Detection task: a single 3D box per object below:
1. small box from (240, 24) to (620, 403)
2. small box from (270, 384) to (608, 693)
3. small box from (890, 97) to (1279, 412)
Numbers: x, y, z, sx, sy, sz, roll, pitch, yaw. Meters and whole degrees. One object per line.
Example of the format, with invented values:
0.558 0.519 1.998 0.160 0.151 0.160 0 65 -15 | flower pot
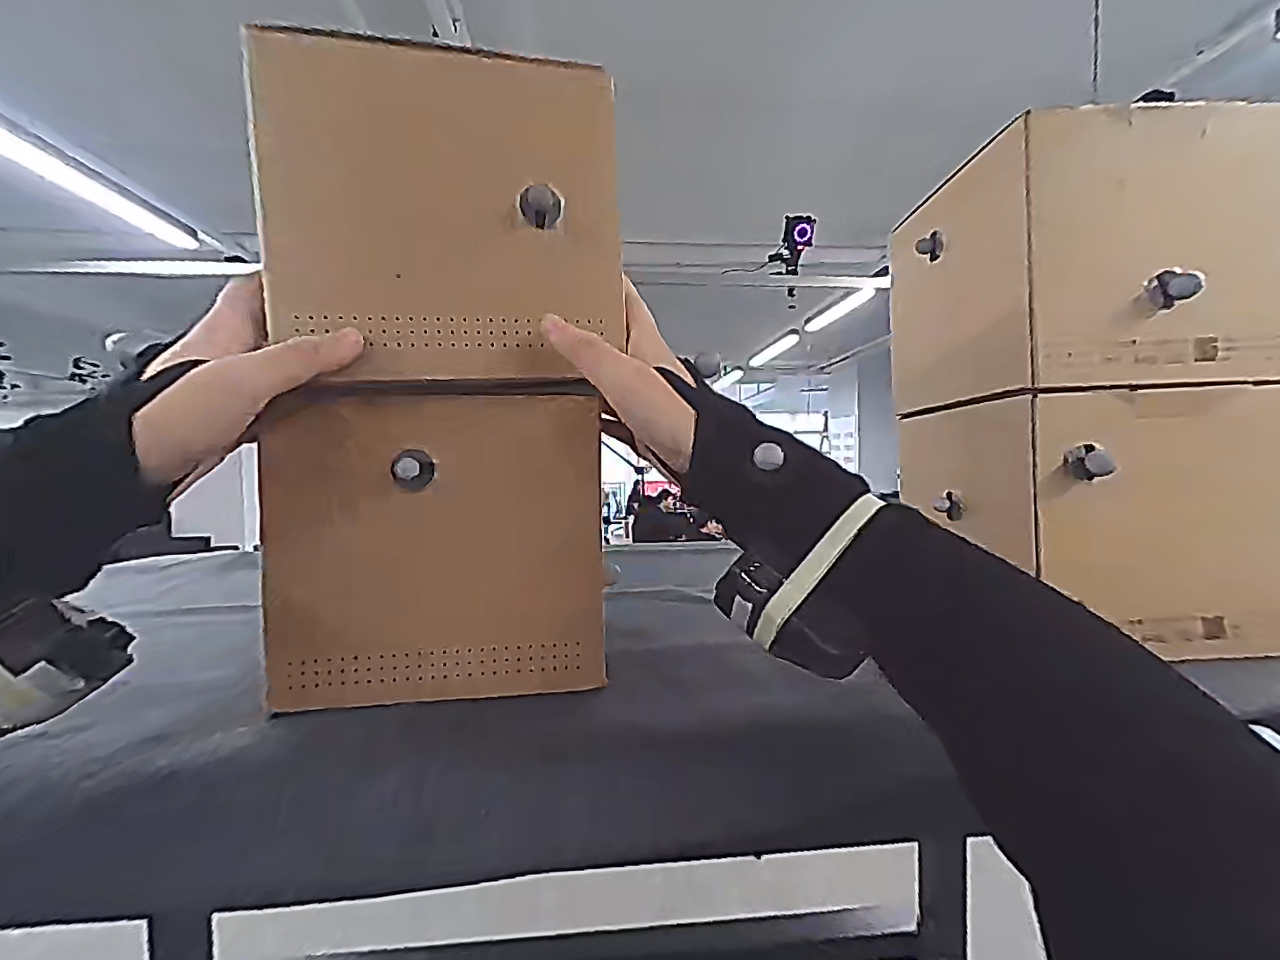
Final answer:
-0.112 -0.134 0.347 0.179 0.176 0.168 -5 3 -14 | small box
-0.116 0.034 0.369 0.179 0.176 0.168 -1 0 -8 | small box
0.308 -0.144 0.408 0.168 0.176 0.179 -3 1 -1 | small box
